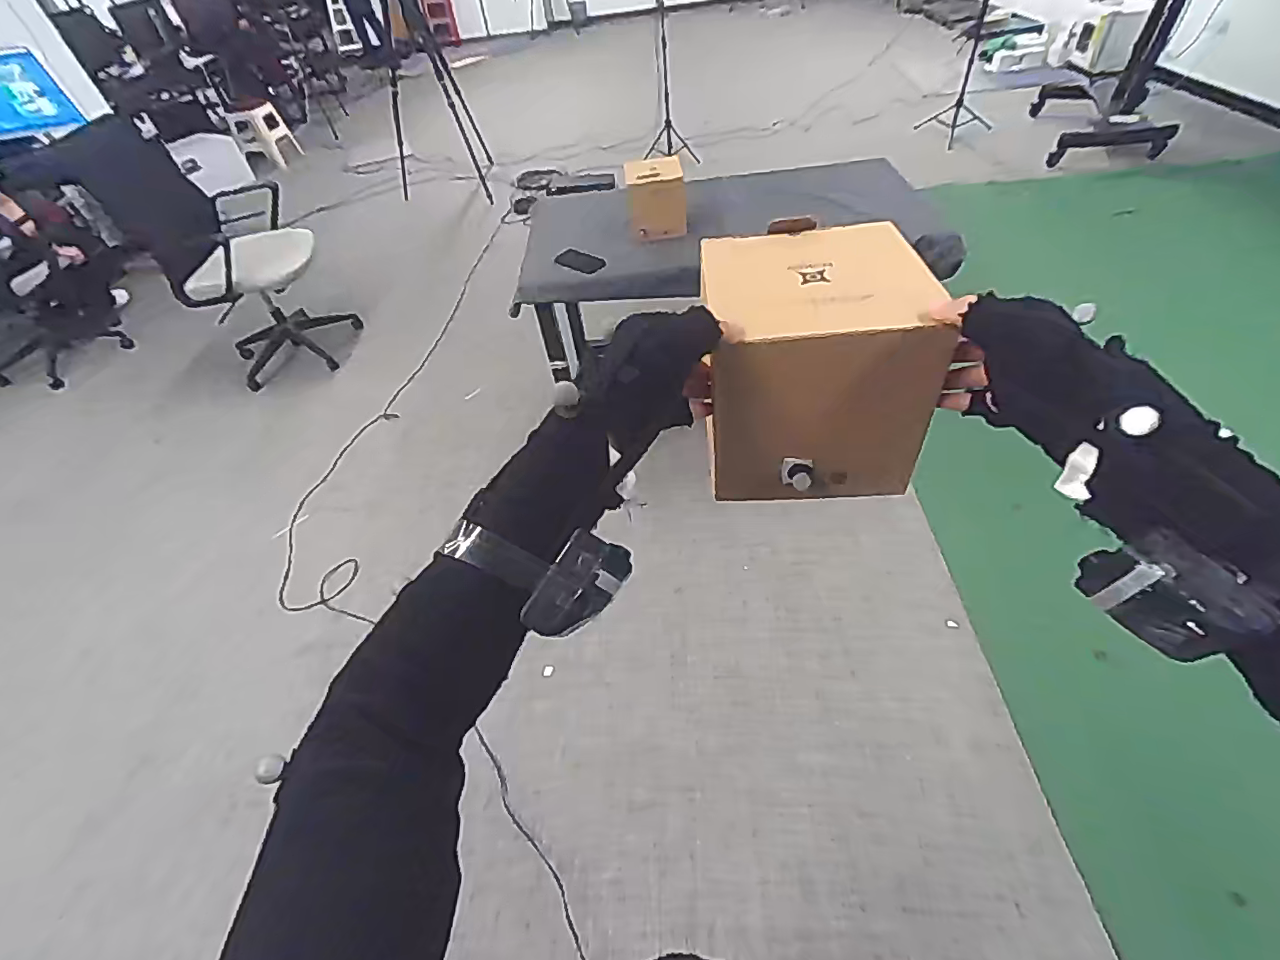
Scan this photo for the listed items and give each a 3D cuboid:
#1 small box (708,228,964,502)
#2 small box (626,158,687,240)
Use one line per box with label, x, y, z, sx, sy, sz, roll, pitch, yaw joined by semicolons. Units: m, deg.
small box;0.145;-0.100;0.478;0.168;0.176;0.179;-3;46;6
small box;0.049;-0.836;1.621;0.168;0.176;0.179;-6;47;2
